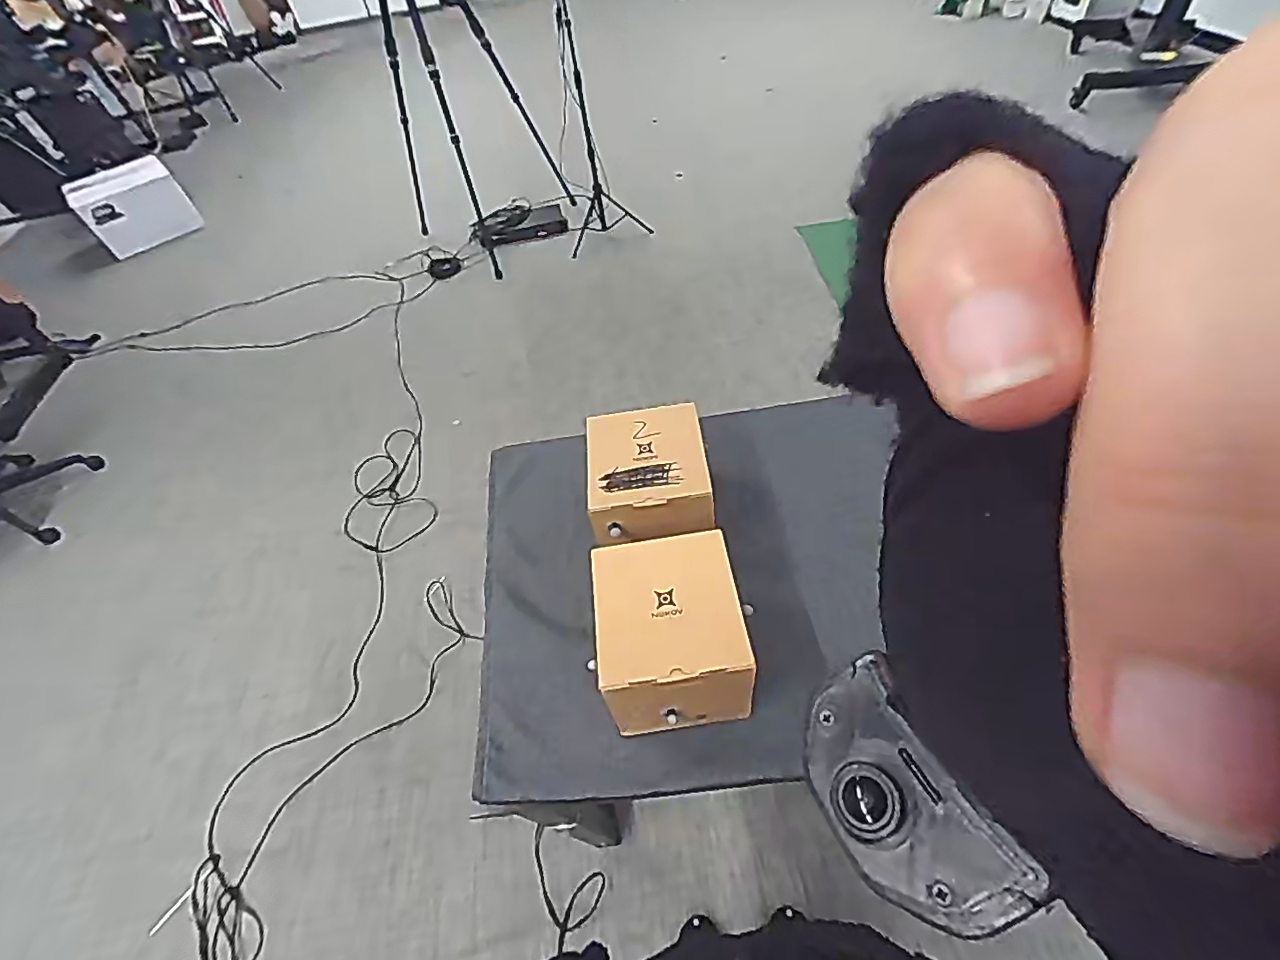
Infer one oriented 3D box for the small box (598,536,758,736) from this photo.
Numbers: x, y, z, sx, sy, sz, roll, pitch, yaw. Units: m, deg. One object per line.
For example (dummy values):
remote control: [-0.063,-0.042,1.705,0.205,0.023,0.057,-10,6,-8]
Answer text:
small box: [0.043,0.197,0.678,0.168,0.176,0.179,-9,49,1]
